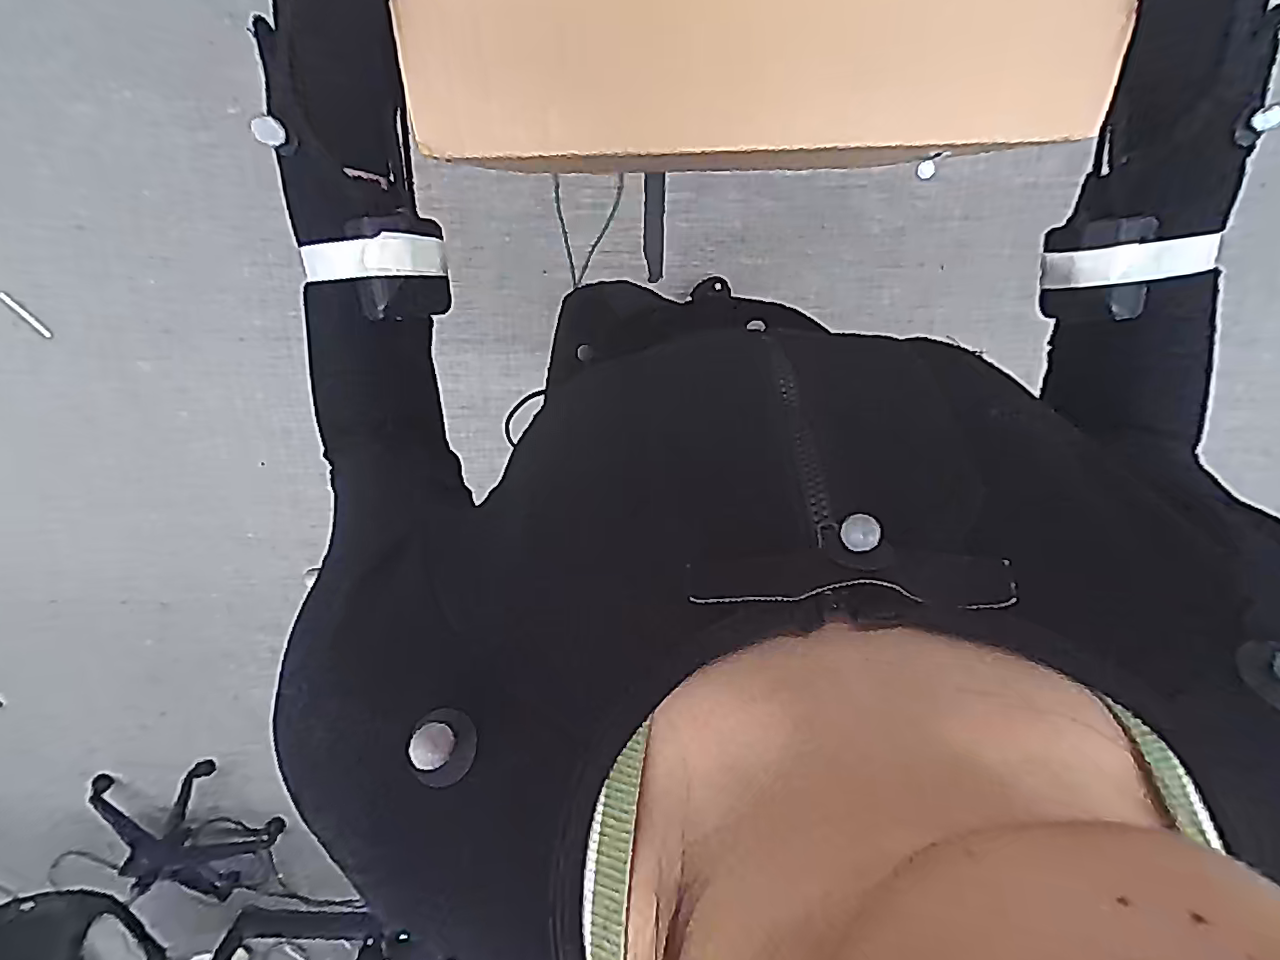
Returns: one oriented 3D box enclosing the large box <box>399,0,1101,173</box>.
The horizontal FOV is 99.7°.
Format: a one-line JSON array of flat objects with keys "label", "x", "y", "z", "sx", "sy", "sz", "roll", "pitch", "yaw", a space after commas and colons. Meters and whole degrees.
[{"label": "large box", "x": 0.061, "y": -0.412, "z": 0.396, "sx": 0.408, "sy": 0.320, "sz": 0.320, "roll": -2, "pitch": 118, "yaw": 1}]
